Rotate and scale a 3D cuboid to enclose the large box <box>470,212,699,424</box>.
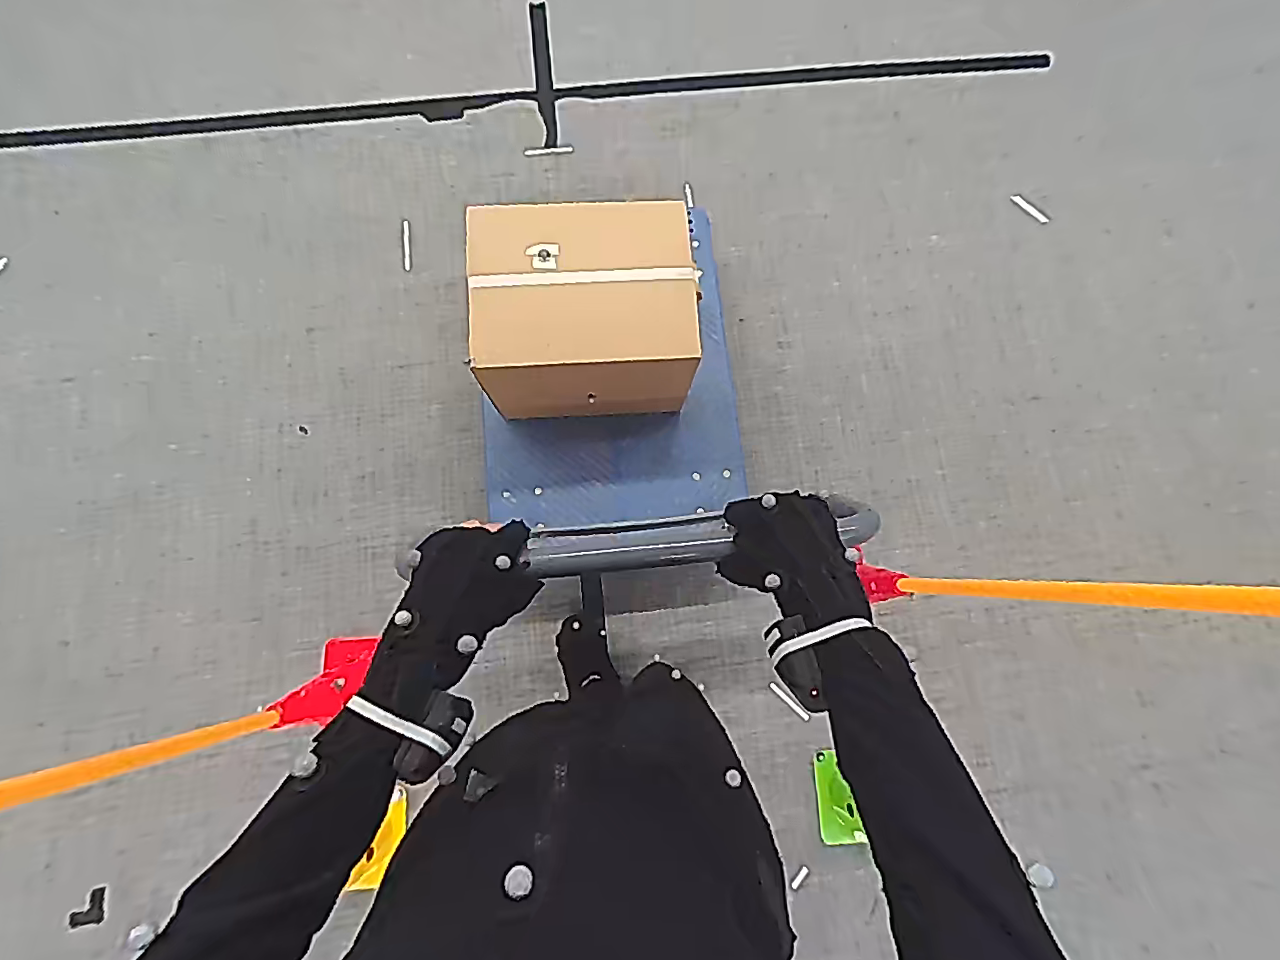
[{"bbox_3d":[-0.108,-0.313,1.124,0.408,0.320,0.320,-4,79,-3],"label":"large box"}]

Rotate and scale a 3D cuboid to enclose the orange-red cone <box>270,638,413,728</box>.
[{"bbox_3d":[-0.628,0.435,1.097,0.198,0.360,0.199,1,77,-3],"label":"orange-red cone"}]

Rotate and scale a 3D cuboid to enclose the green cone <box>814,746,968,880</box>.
[{"bbox_3d":[0.521,0.698,1.089,0.202,0.368,0.200,-2,78,-4],"label":"green cone"}]

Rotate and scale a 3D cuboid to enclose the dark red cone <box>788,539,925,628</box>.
[{"bbox_3d":[0.484,0.221,1.168,0.201,0.394,0.202,-6,79,-6],"label":"dark red cone"}]
